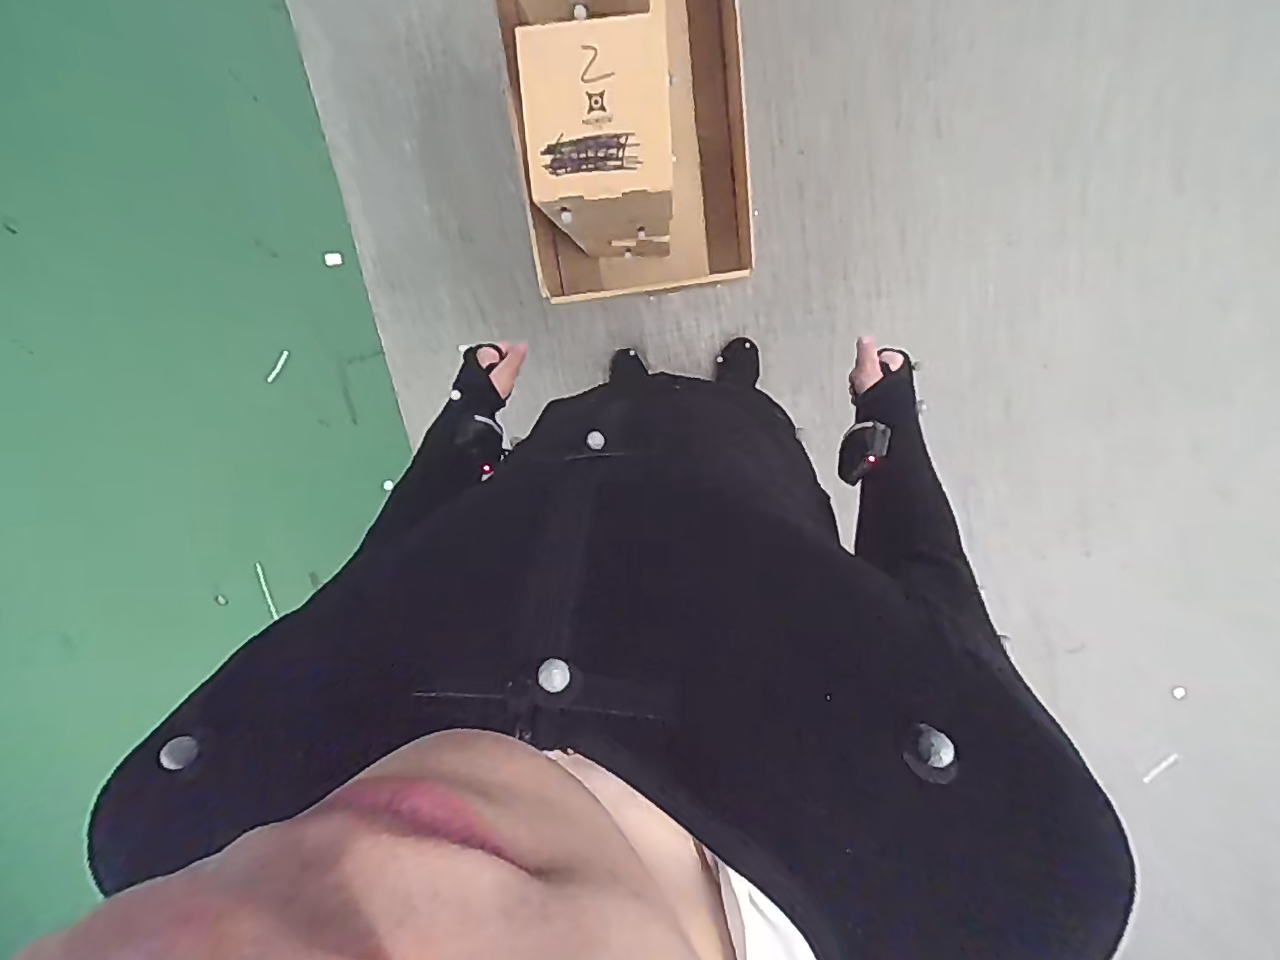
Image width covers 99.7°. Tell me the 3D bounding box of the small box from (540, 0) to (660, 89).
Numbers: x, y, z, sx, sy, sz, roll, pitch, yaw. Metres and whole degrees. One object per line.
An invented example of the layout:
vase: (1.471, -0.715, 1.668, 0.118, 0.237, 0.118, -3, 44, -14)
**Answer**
small box: (-0.064, -0.709, 0.783, 0.168, 0.176, 0.179, -8, 107, 4)

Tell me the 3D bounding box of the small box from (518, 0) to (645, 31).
small box: (-0.076, -0.666, 0.625, 0.168, 0.176, 0.179, 2, 108, 2)

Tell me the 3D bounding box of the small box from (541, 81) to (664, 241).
small box: (-0.048, -0.478, 0.841, 0.168, 0.176, 0.179, -3, 104, 3)
